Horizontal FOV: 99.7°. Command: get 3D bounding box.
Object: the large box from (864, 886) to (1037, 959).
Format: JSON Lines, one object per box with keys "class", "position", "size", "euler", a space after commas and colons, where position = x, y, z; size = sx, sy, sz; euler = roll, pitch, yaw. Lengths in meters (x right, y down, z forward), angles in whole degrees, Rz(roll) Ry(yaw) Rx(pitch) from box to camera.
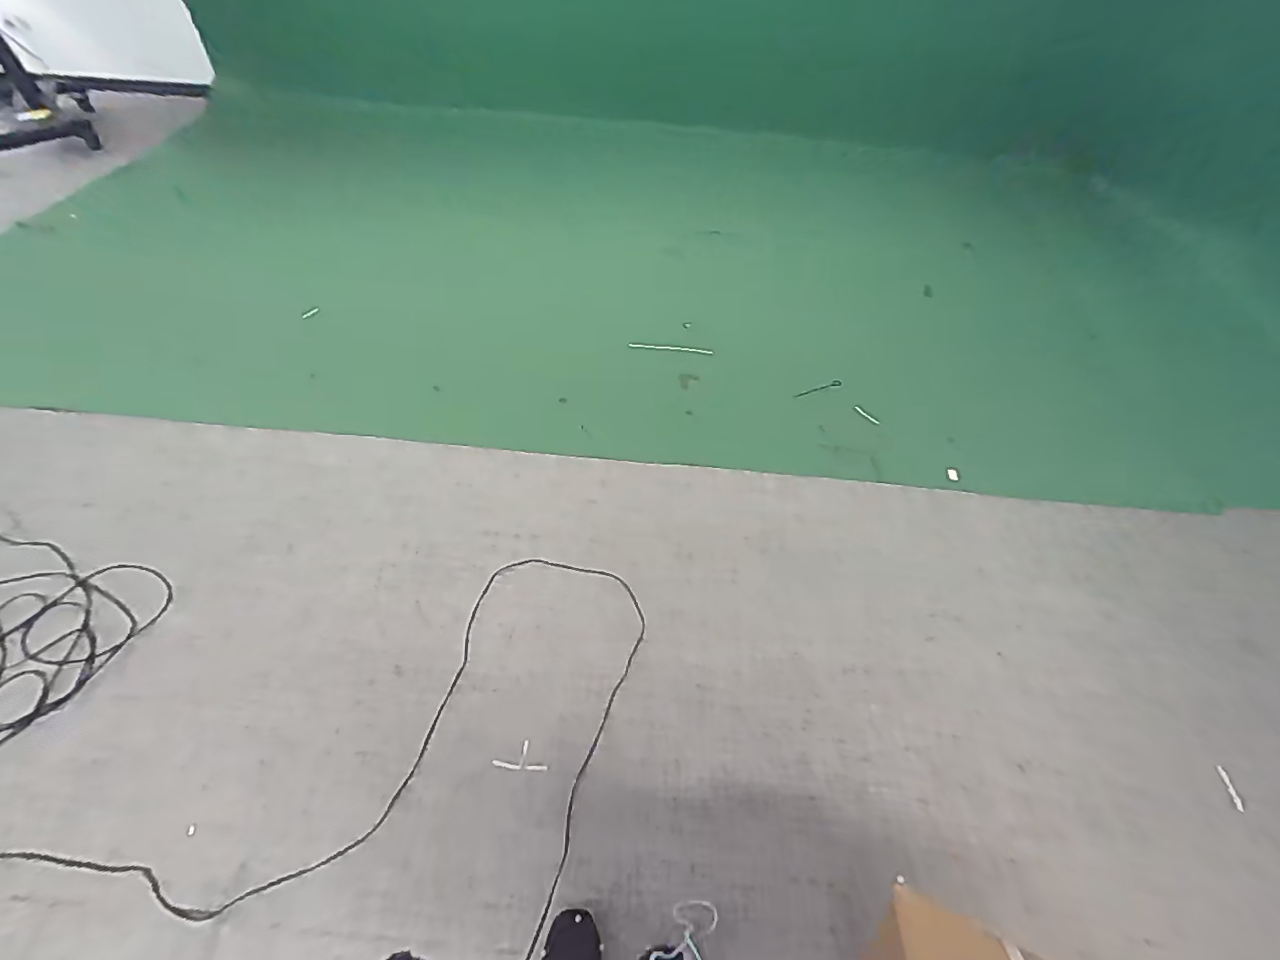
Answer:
{"class": "large box", "position": [0.399, 0.776, 0.578], "size": [0.320, 0.408, 0.320], "euler": [21, 90, 20]}
